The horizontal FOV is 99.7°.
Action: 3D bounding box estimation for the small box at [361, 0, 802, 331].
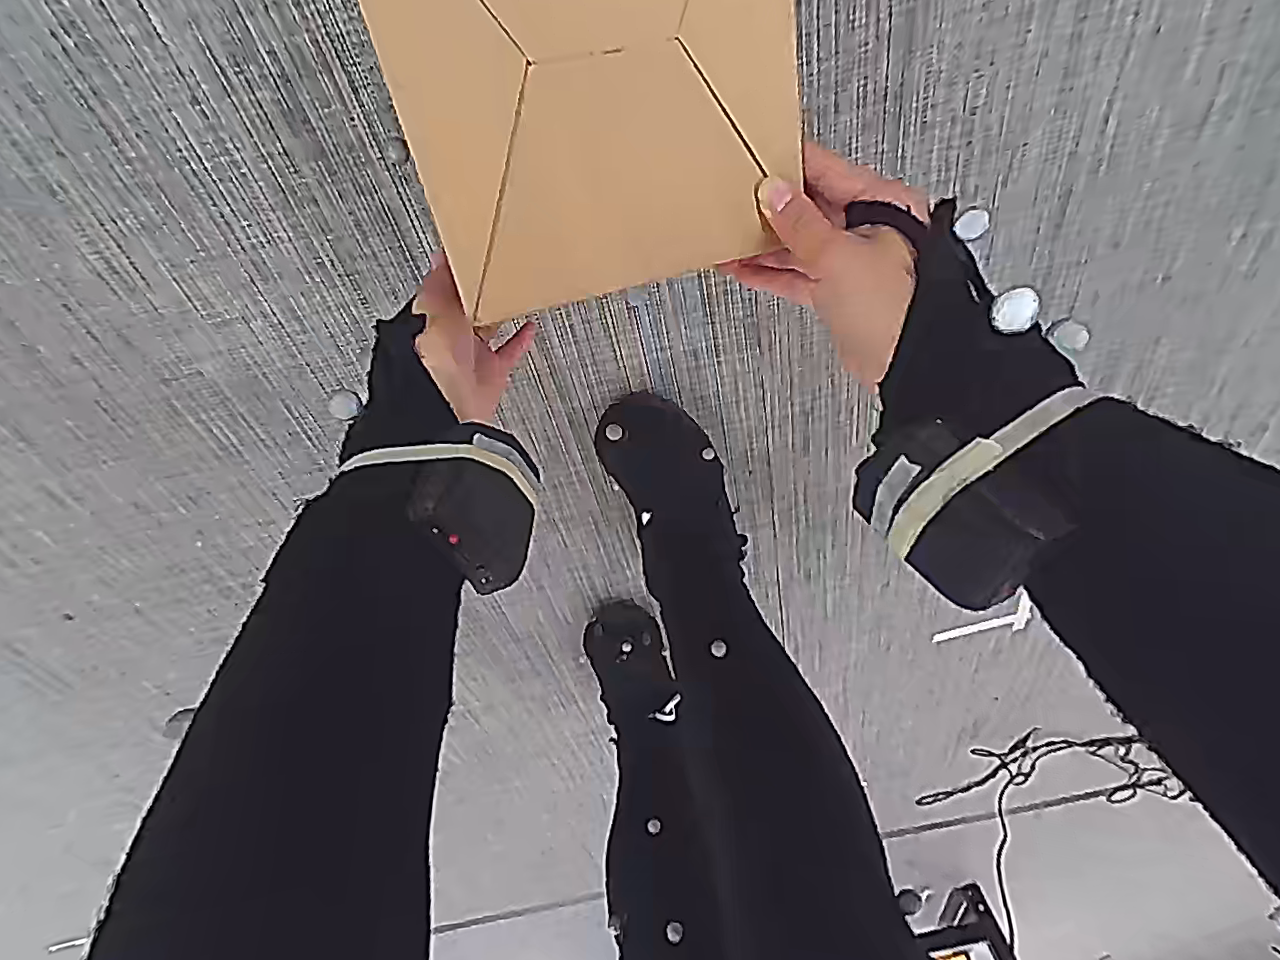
[{"bbox_3d":[-0.034,-0.193,0.279,0.168,0.176,0.179,-18,118,-10],"label":"small box"}]
